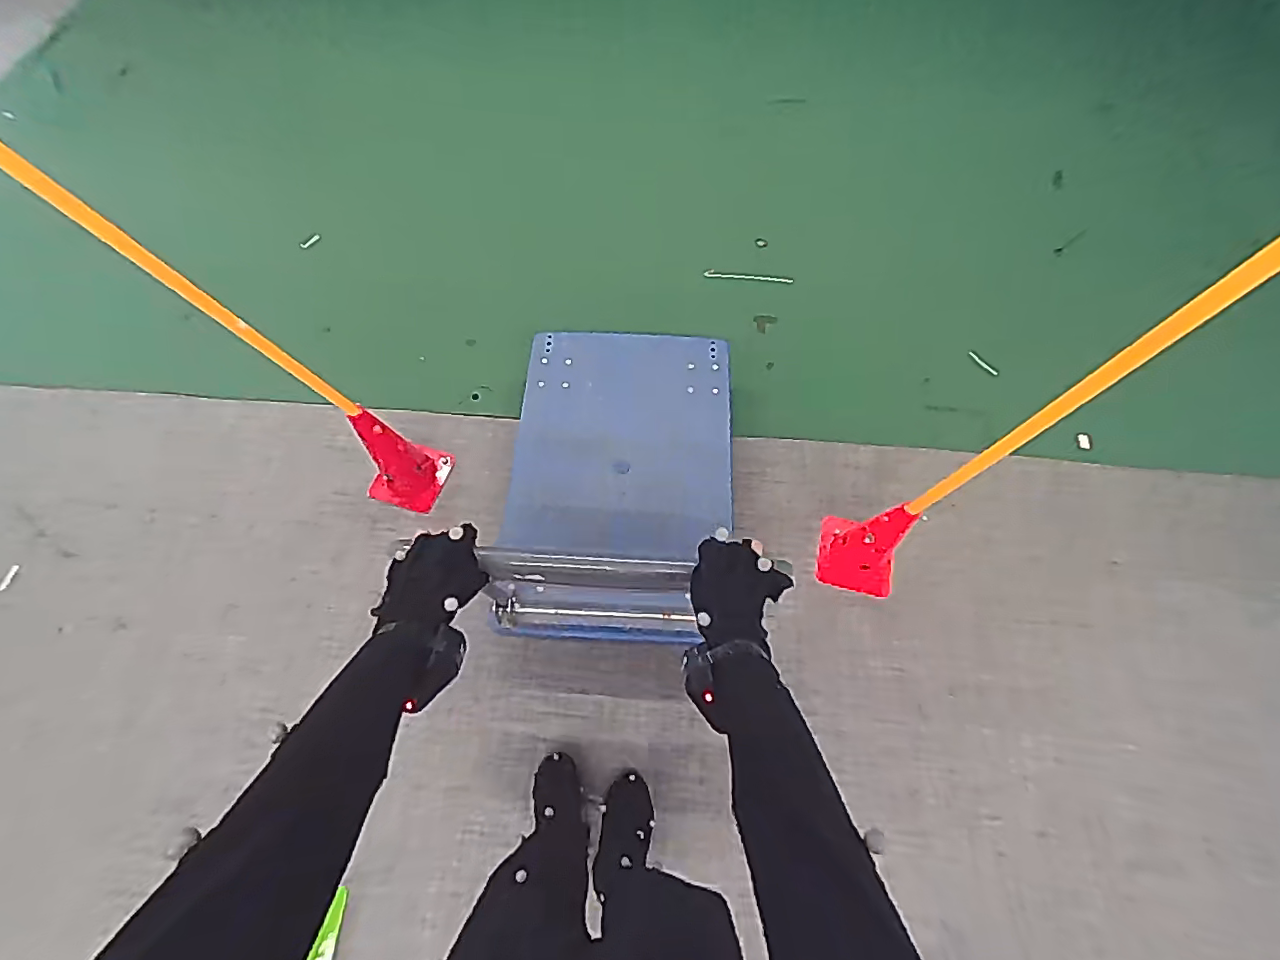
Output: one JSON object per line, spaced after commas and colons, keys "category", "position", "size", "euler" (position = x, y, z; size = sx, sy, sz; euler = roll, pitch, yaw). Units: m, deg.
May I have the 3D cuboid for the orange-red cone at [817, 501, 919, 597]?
{"category": "orange-red cone", "position": [0.592, 0.136, 1.328], "size": [0.198, 0.360, 0.199], "euler": [14, 67, 8]}
